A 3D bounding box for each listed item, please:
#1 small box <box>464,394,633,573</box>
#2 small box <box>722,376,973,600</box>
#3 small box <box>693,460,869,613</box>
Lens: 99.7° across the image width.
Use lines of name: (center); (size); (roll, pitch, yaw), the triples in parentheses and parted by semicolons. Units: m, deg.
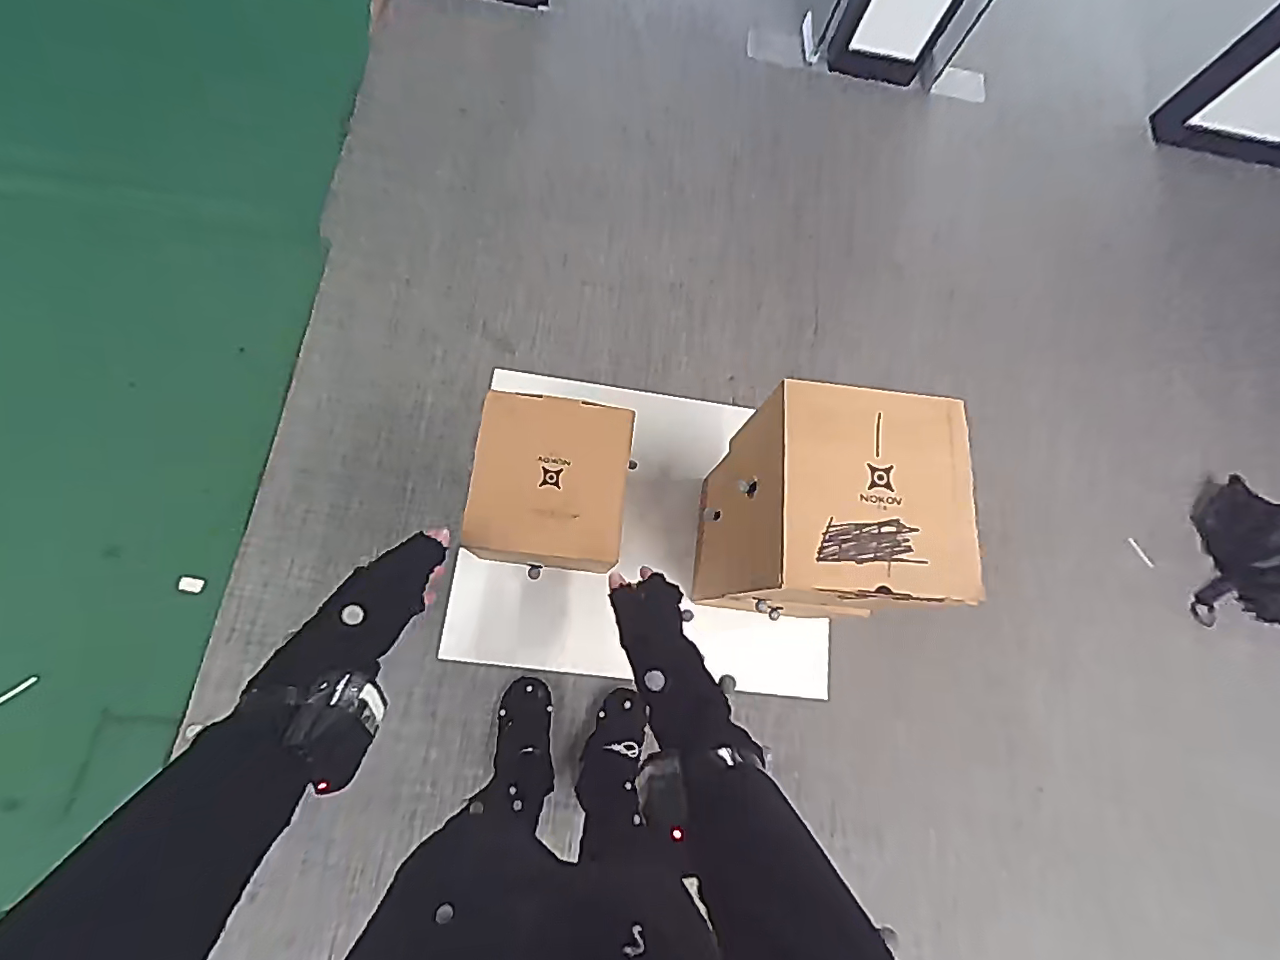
small box: (-0.106, 0.015, 0.659); (0.168, 0.176, 0.179); (6, 77, -6)
small box: (0.179, 0.021, 0.518); (0.168, 0.176, 0.179); (5, 75, -5)
small box: (0.166, 0.068, 0.675); (0.168, 0.176, 0.179); (7, 75, -4)
